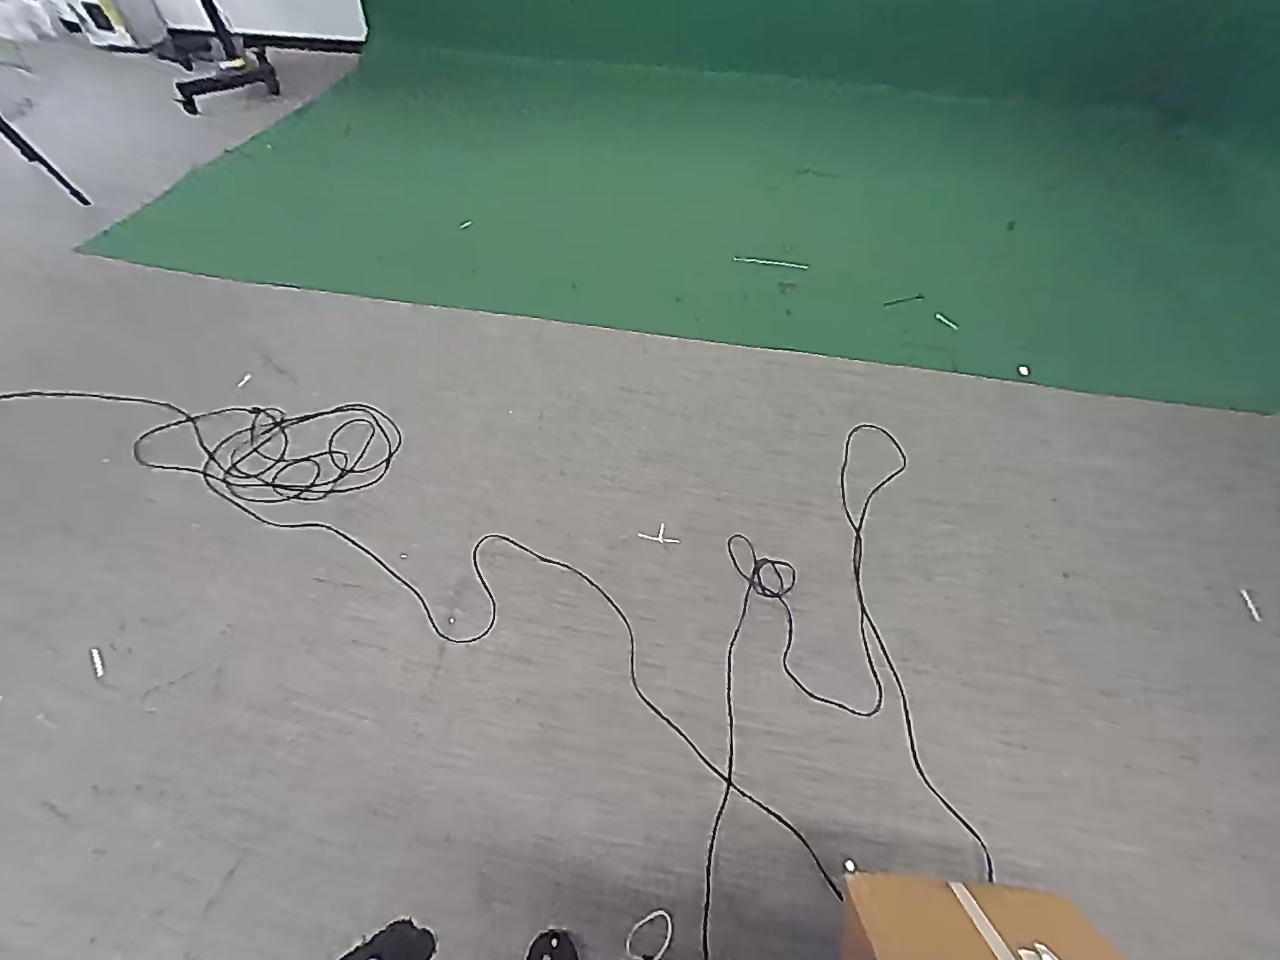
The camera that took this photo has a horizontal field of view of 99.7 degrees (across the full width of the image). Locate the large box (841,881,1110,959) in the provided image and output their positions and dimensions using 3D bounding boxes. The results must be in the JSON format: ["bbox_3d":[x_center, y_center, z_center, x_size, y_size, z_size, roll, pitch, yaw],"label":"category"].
[{"bbox_3d":[0.435,0.754,0.598,0.320,0.408,0.320,4,90,5],"label":"large box"}]
